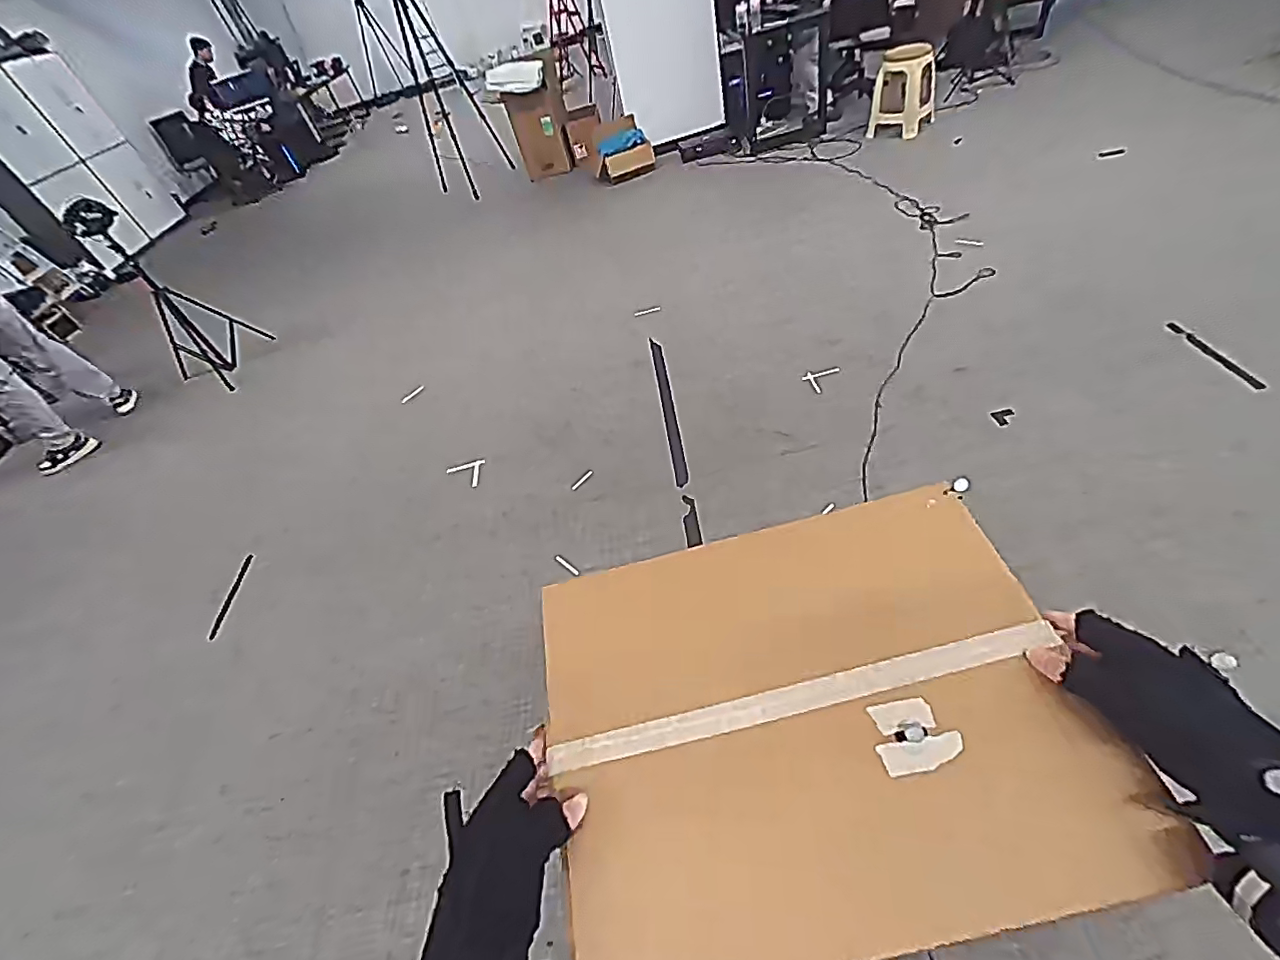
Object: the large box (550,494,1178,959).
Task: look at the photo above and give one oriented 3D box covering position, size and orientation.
[{"bbox_3d":[0.154,0.271,0.557,0.408,0.320,0.320,-15,51,2],"label":"large box"}]
